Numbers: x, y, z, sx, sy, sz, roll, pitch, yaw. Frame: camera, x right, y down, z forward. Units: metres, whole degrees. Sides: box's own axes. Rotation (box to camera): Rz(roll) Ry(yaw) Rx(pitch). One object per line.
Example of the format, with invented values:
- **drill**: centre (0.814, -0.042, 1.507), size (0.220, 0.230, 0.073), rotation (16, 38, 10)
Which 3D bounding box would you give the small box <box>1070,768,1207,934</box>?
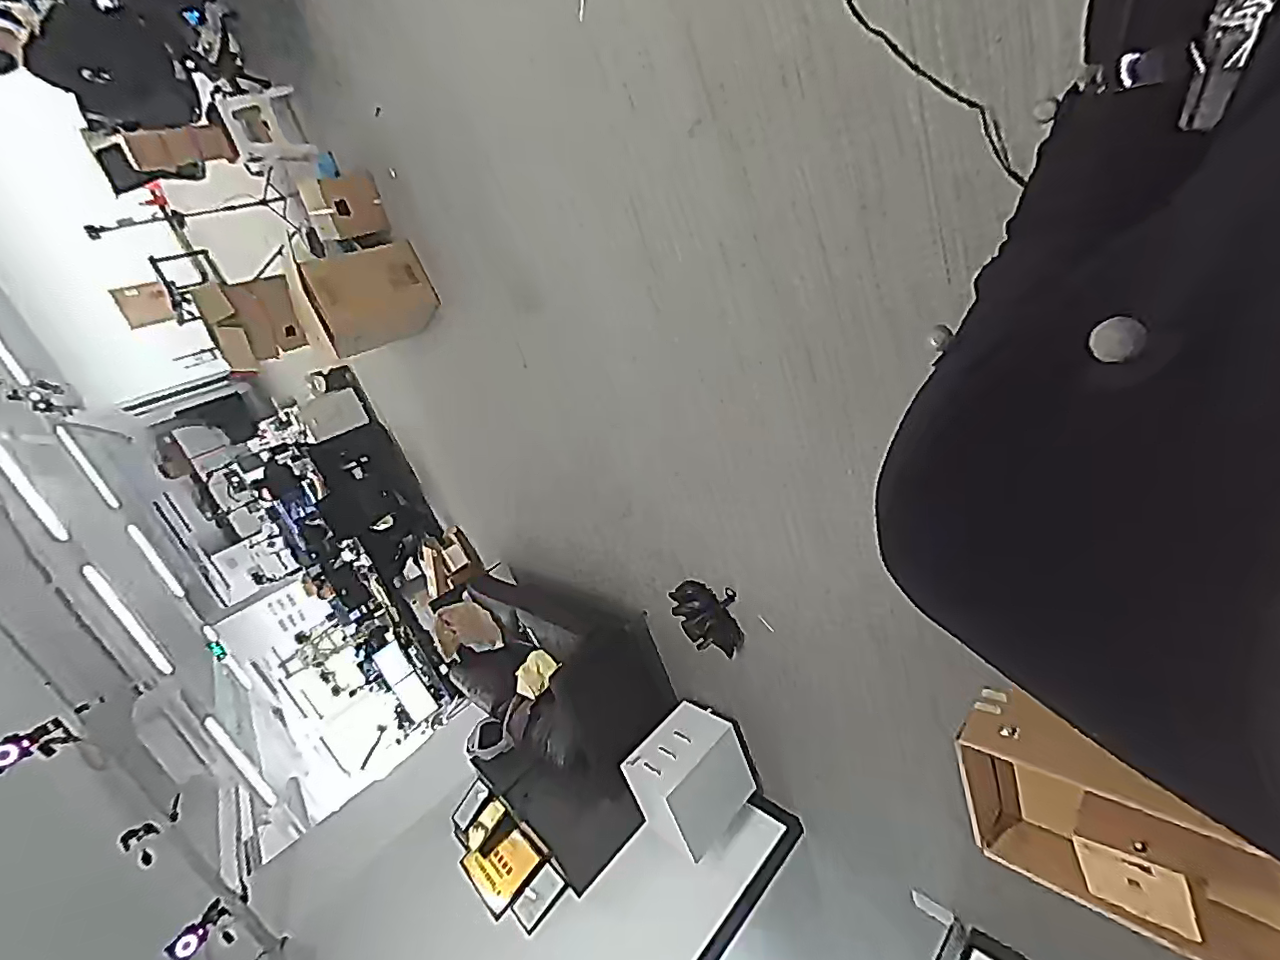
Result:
- **small box**: centre (0.993, 0.724, 1.075), size (0.168, 0.176, 0.179), rotation (-7, 113, 53)
